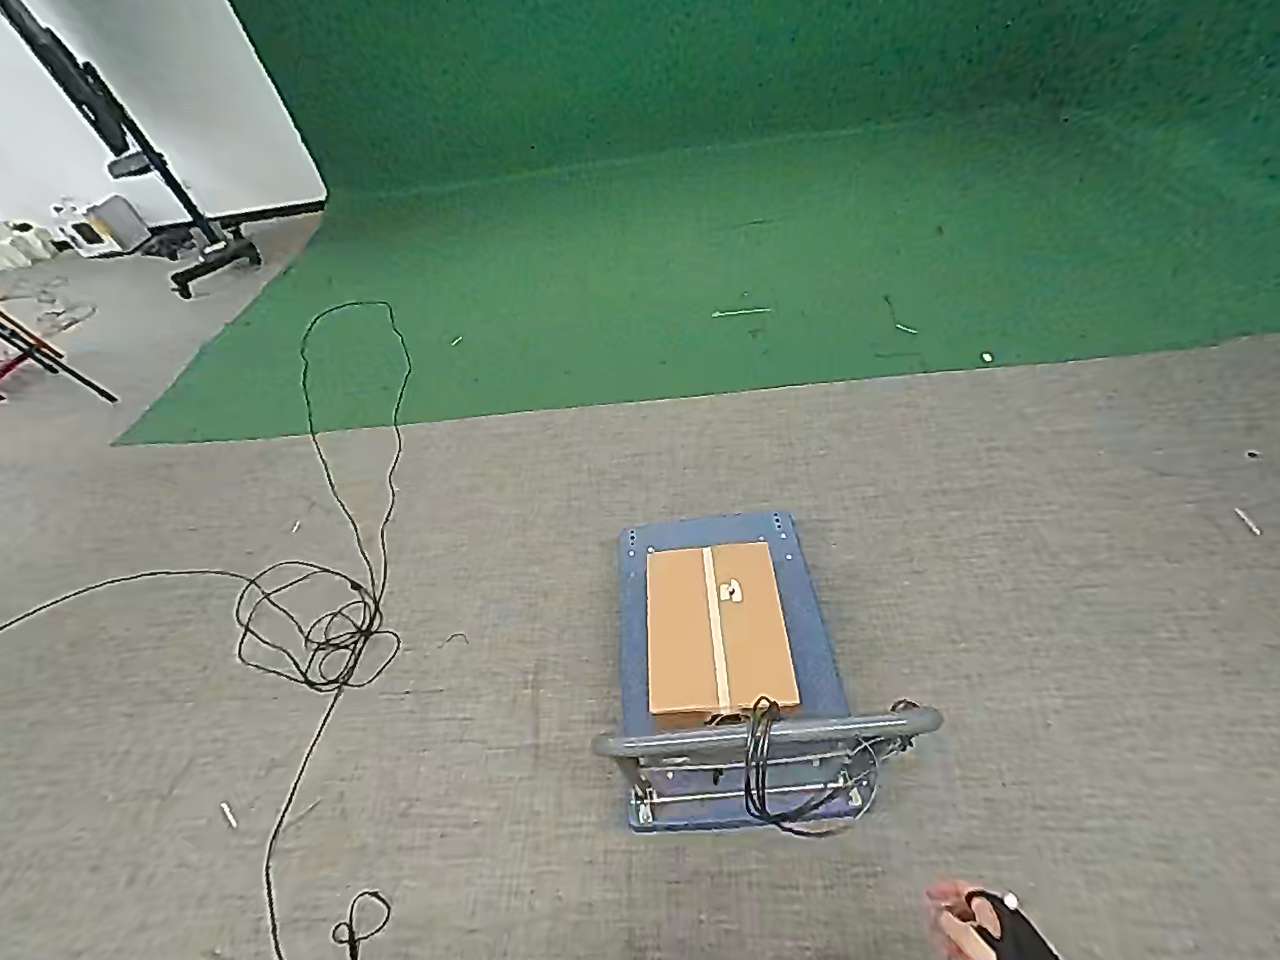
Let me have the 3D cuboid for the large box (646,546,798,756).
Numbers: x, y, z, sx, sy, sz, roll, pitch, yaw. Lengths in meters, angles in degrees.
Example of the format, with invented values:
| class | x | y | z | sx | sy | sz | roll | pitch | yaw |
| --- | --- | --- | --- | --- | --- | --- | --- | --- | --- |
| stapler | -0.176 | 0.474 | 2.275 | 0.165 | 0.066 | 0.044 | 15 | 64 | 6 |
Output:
| class | x | y | z | sx | sy | sz | roll | pitch | yaw |
| --- | --- | --- | --- | --- | --- | --- | --- | --- | --- |
| large box | 0.193 | 0.428 | 1.359 | 0.320 | 0.320 | 0.408 | -6 | 47 | 5 |
